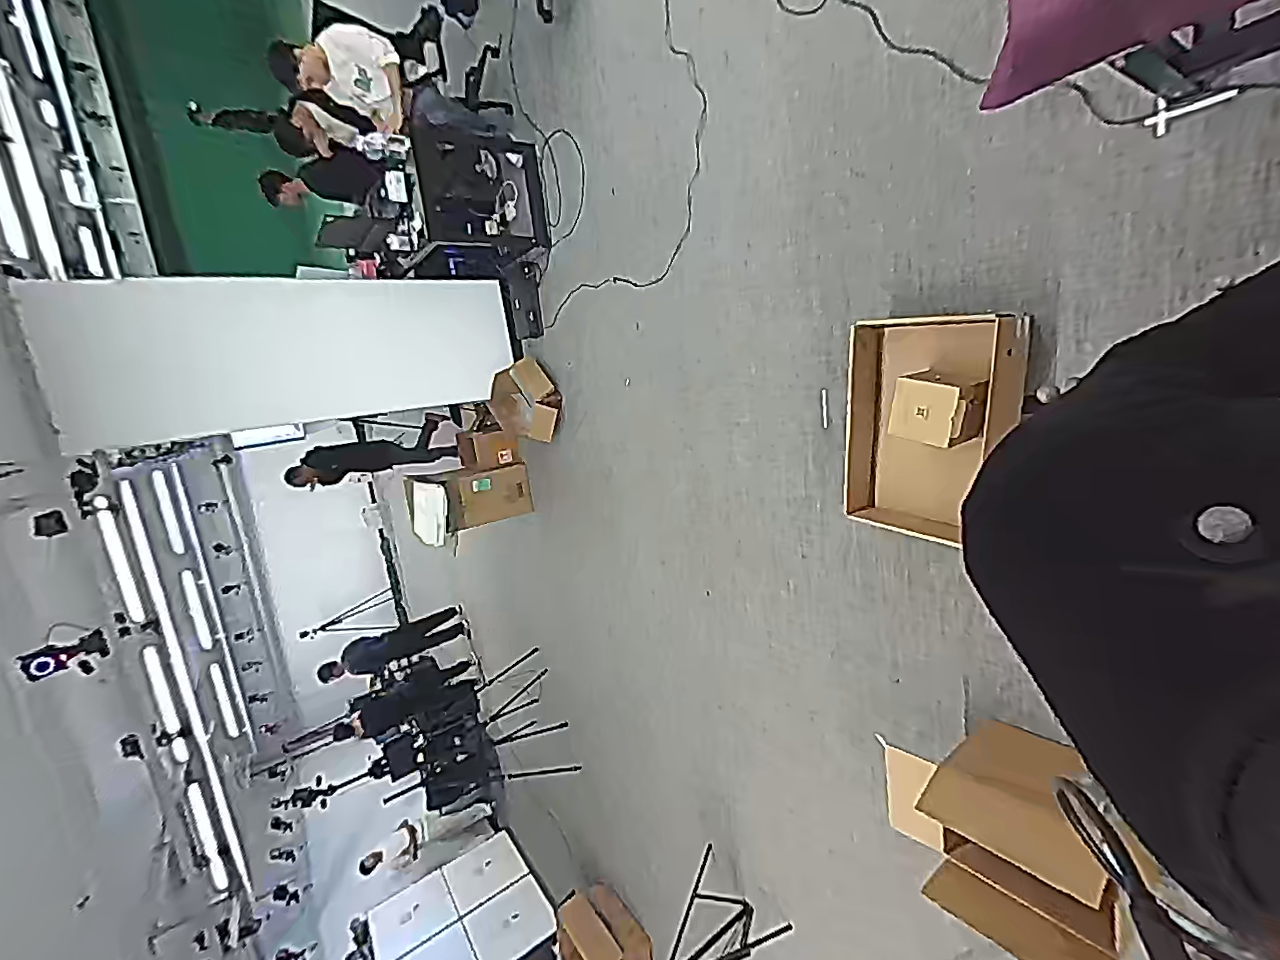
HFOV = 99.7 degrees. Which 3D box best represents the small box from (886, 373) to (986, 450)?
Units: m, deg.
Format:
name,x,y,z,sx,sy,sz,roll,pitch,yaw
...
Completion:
name,x,y,z,sx,sy,sz,roll,pitch,yaw
small box,0.820,-0.196,1.497,0.179,0.176,0.168,28,125,48
